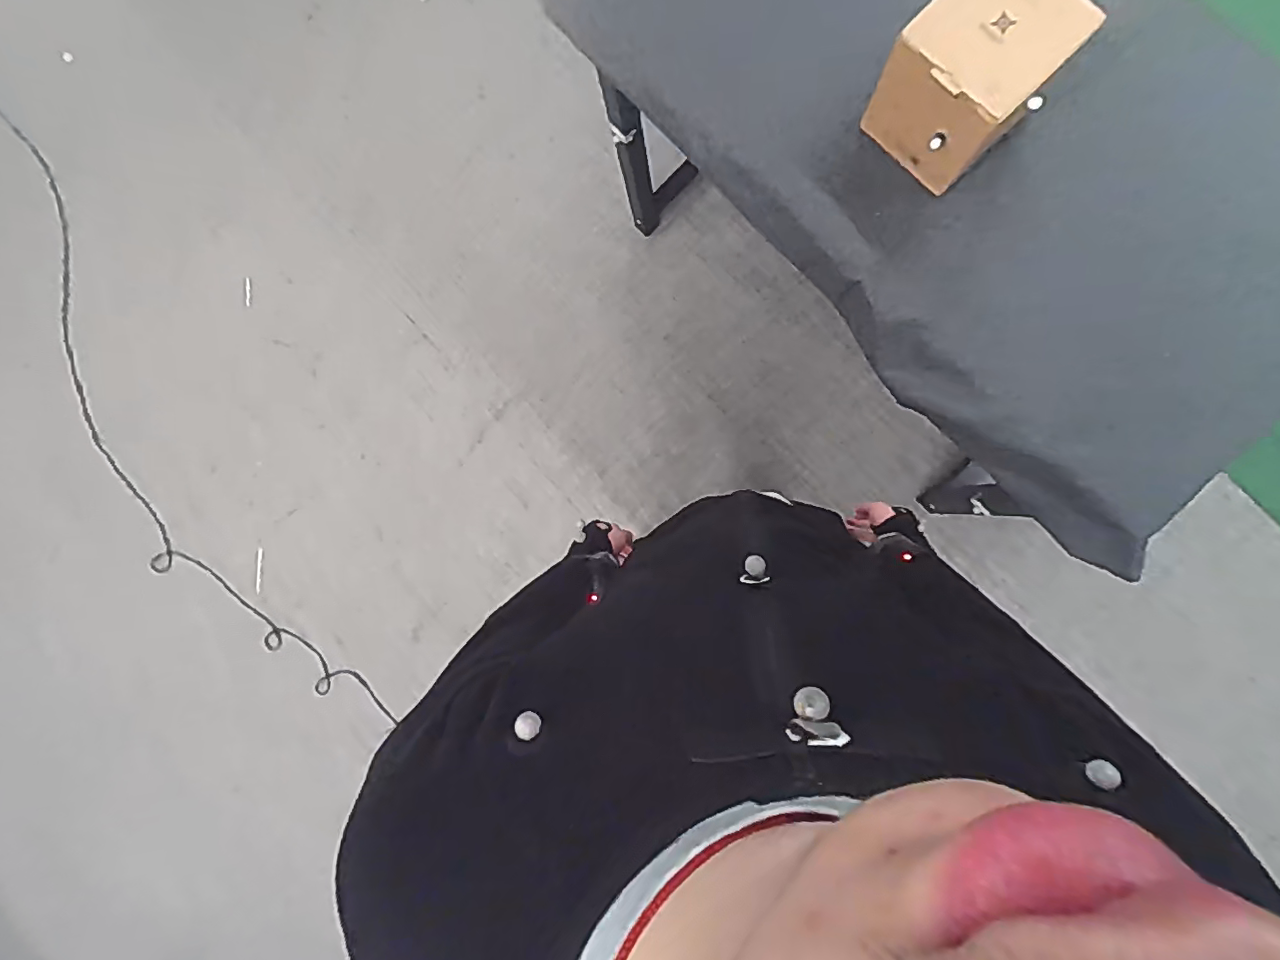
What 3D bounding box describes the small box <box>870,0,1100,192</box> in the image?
[{"bbox_3d":[0.444,-0.542,0.738,0.179,0.176,0.168,-44,86,2],"label":"small box"}]
